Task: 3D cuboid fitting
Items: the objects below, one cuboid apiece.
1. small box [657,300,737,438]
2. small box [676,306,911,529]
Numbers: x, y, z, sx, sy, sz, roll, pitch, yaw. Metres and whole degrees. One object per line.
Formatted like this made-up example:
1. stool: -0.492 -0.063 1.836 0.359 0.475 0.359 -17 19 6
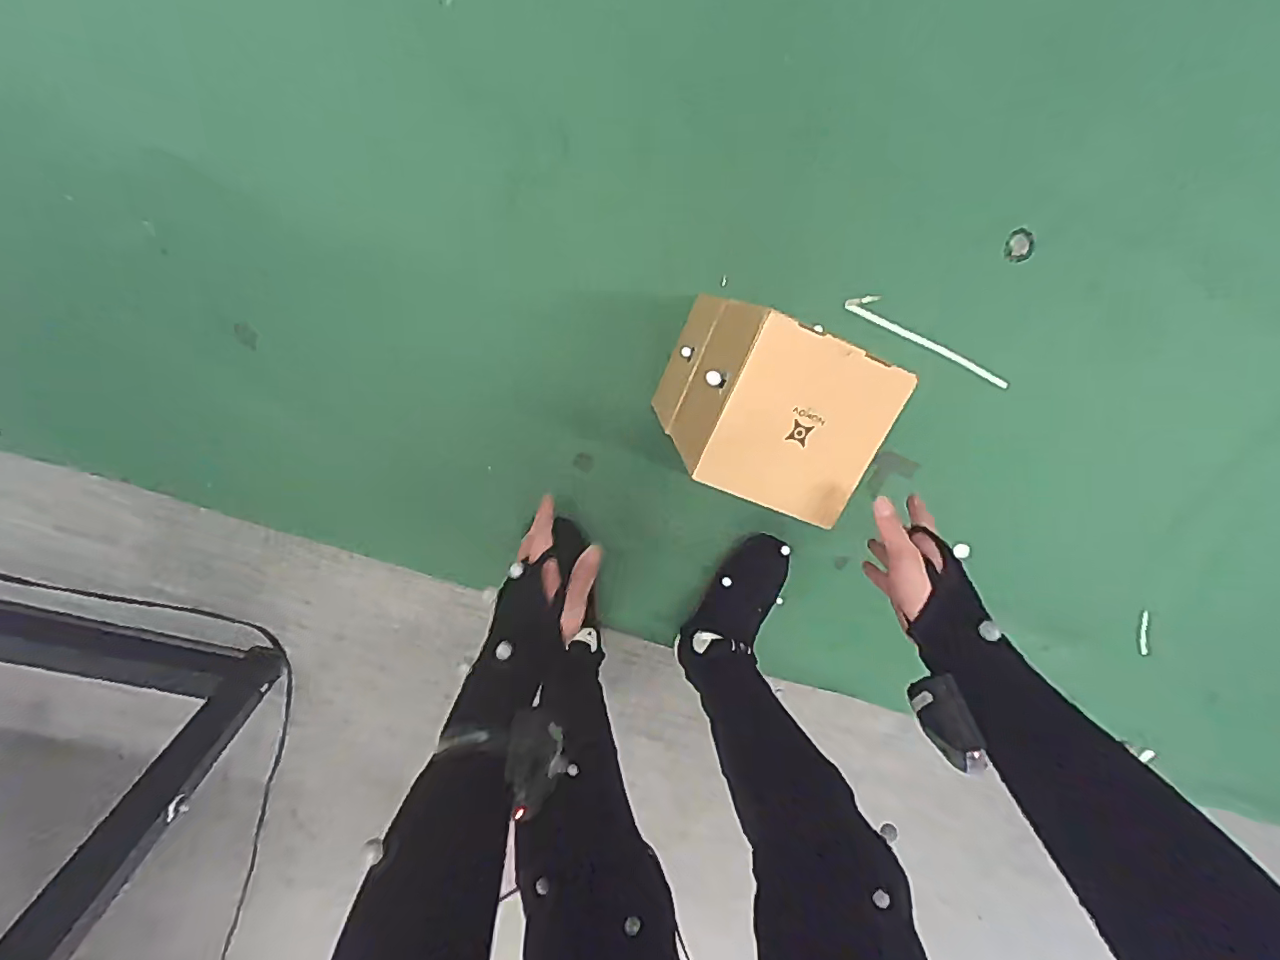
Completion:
1. small box: 0.132 -0.136 0.749 0.168 0.176 0.179 20 109 -12
2. small box: 0.149 -0.077 0.600 0.168 0.176 0.179 20 107 -11
